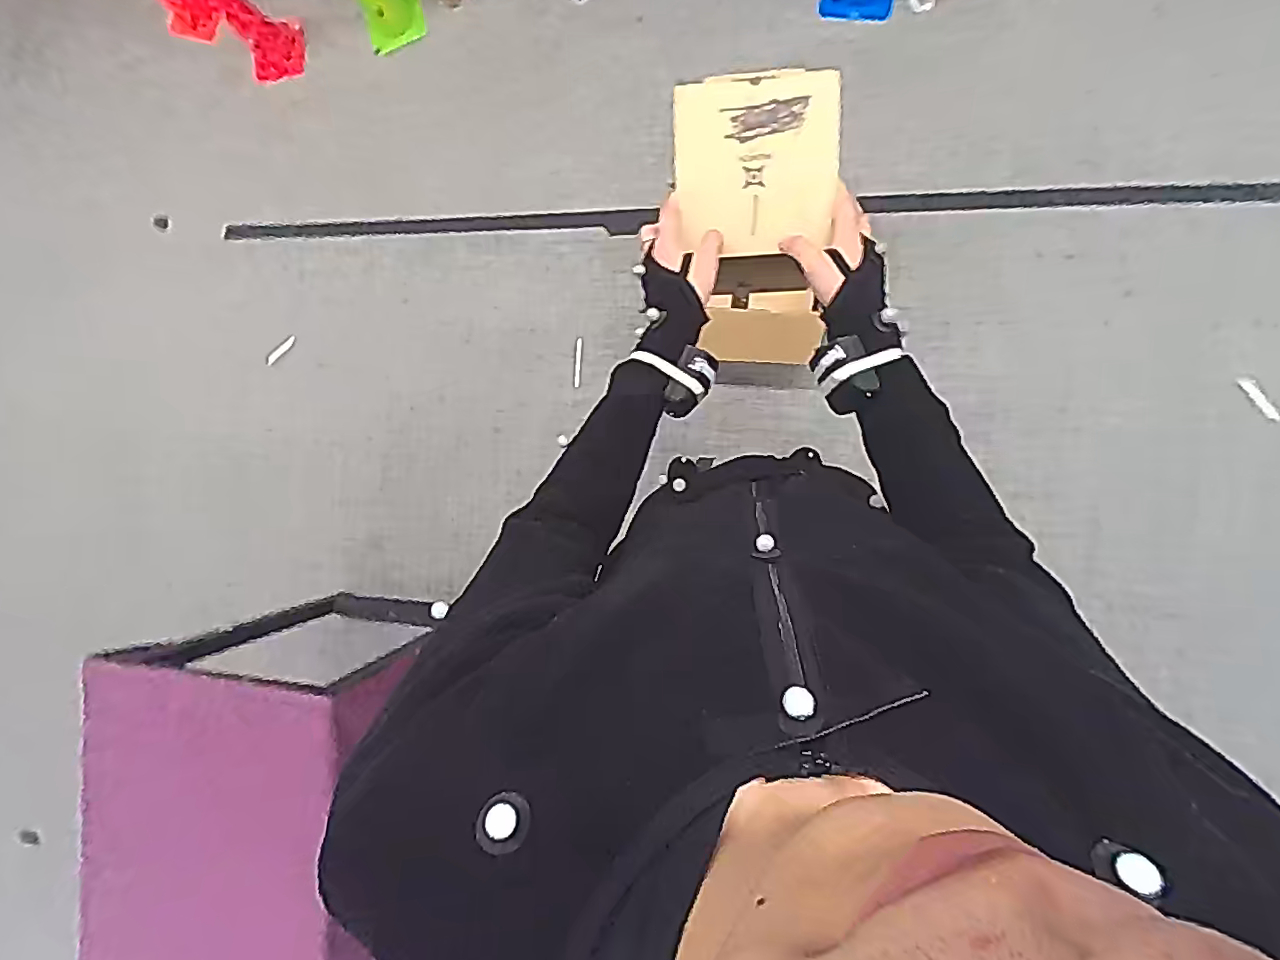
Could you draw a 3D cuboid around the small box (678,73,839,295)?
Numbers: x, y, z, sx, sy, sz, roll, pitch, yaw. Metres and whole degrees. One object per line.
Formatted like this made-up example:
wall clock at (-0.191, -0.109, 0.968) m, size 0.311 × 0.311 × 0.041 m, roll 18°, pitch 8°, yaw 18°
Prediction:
small box at (0.130, -0.331, 0.639) m, size 0.168 × 0.176 × 0.179 m, roll -1°, pitch 96°, yaw 8°
